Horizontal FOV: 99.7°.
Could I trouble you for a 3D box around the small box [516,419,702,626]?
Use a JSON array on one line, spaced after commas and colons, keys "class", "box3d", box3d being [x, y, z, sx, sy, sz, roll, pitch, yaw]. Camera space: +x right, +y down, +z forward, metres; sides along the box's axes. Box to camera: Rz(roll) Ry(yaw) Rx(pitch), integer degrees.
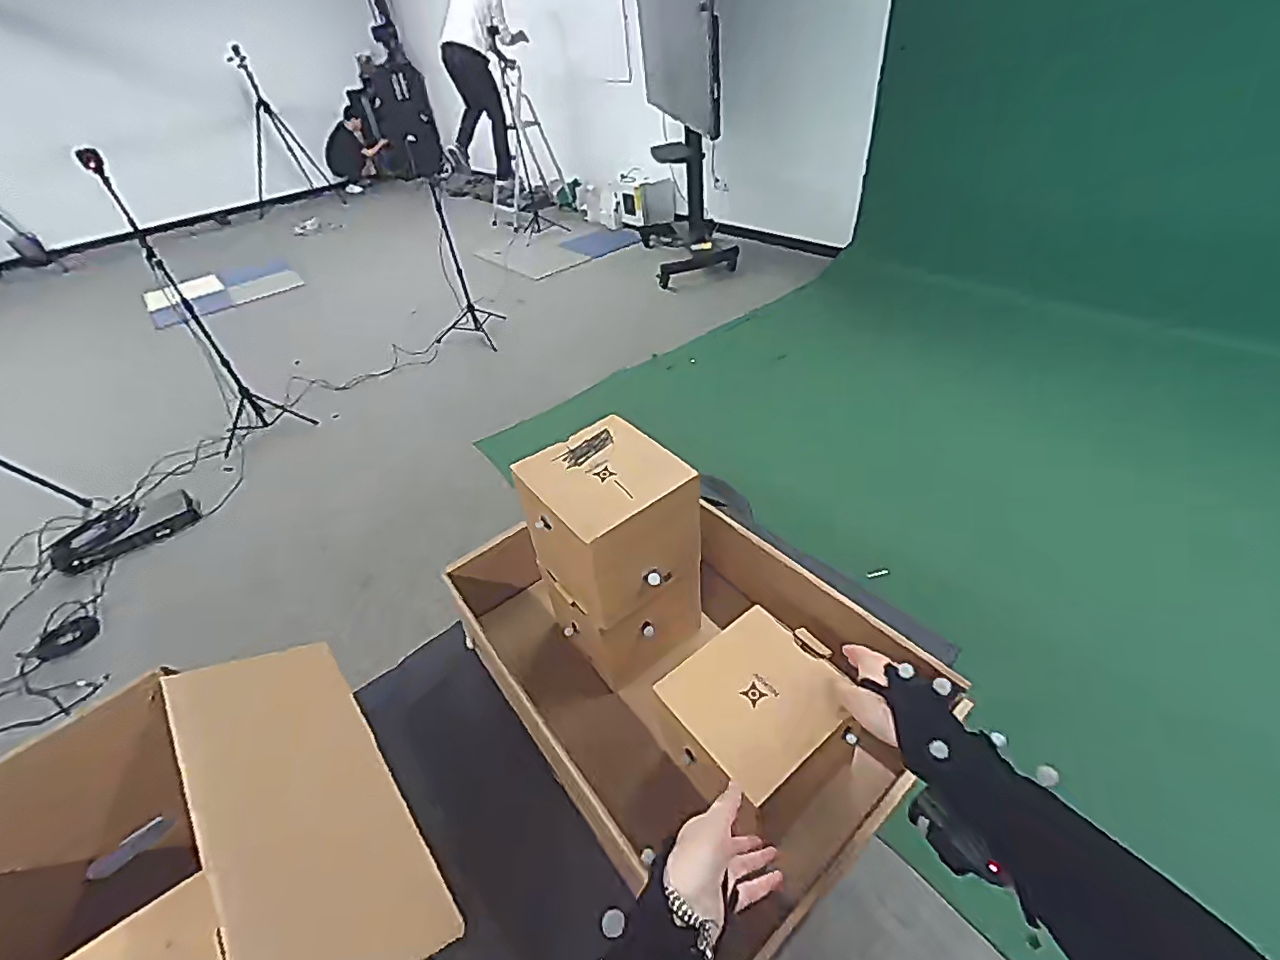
[{"class": "small box", "box3d": [-0.037, 0.054, 0.709, 0.168, 0.176, 0.179, -31, 47, -24]}]
